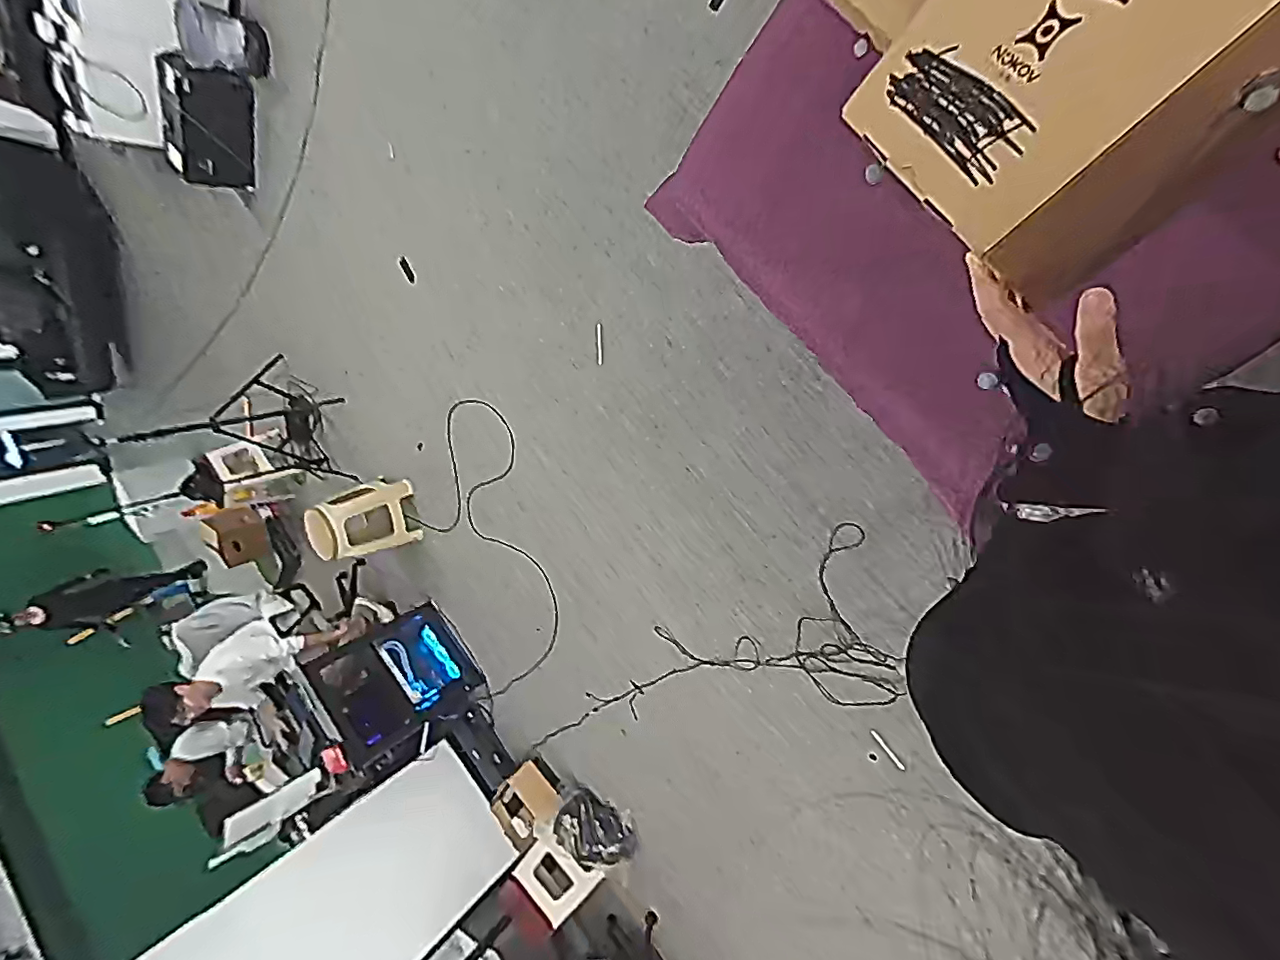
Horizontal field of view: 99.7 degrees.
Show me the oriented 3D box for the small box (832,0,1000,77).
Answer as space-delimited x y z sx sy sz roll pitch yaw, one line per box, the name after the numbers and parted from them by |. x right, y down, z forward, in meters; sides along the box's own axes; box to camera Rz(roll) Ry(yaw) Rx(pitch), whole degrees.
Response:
0.259 -0.507 0.488 0.179 0.176 0.168 51 130 8 | small box
